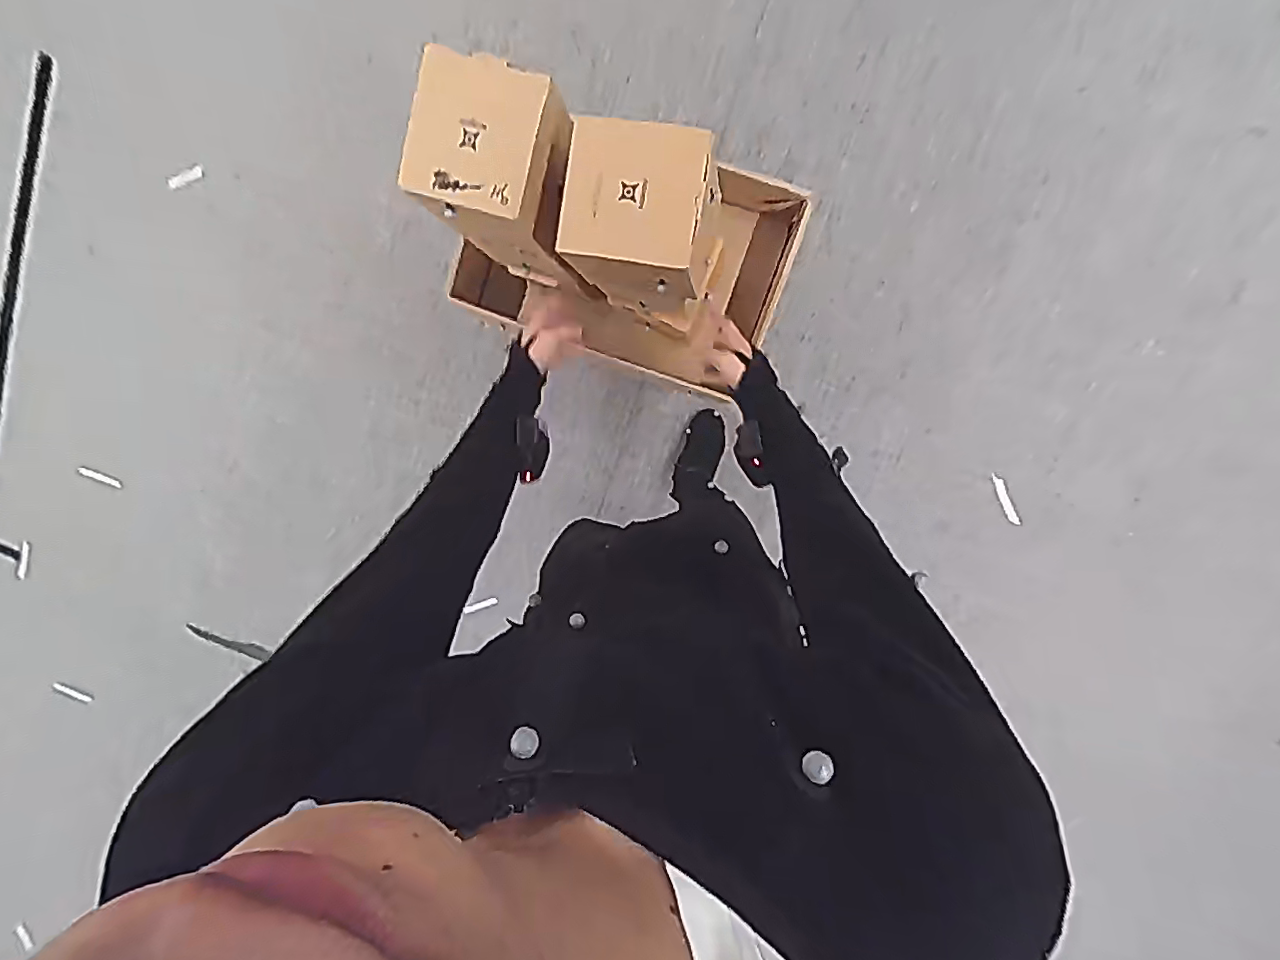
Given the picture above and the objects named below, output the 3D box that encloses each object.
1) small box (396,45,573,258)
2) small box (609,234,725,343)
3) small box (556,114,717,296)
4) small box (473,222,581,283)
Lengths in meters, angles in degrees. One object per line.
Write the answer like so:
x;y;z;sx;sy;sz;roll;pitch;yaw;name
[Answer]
-0.199;-0.437;0.747;0.168;0.176;0.179;18;97;5;small box
0.058;-0.388;1.060;0.168;0.176;0.179;23;100;7;small box
0.005;-0.360;0.738;0.179;0.176;0.168;12;98;9;small box
-0.175;-0.455;0.911;0.168;0.176;0.179;18;99;4;small box
